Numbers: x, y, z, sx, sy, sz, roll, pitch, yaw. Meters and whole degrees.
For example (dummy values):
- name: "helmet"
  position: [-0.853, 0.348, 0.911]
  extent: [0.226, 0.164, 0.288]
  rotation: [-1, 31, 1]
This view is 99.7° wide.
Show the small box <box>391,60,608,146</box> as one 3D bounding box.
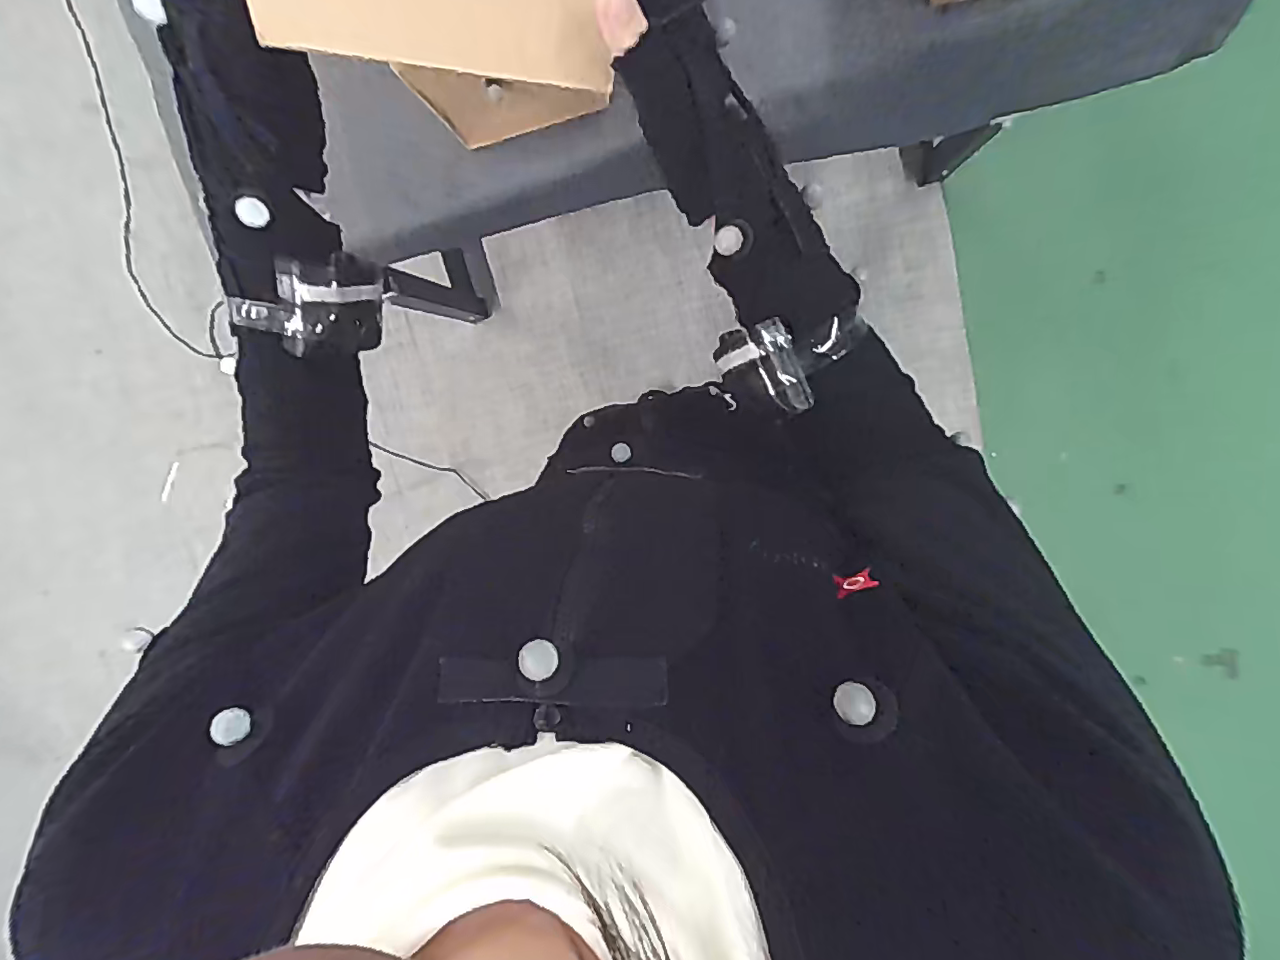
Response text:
- name: "small box"
  position: [-0.146, -0.476, 0.548]
  extent: [0.179, 0.176, 0.168]
  rotation: [-11, 96, 9]

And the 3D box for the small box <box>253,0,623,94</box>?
- name: "small box"
  position: [-0.088, -0.318, 0.258]
  extent: [0.168, 0.176, 0.179]
  rotation: [2, 136, -9]
